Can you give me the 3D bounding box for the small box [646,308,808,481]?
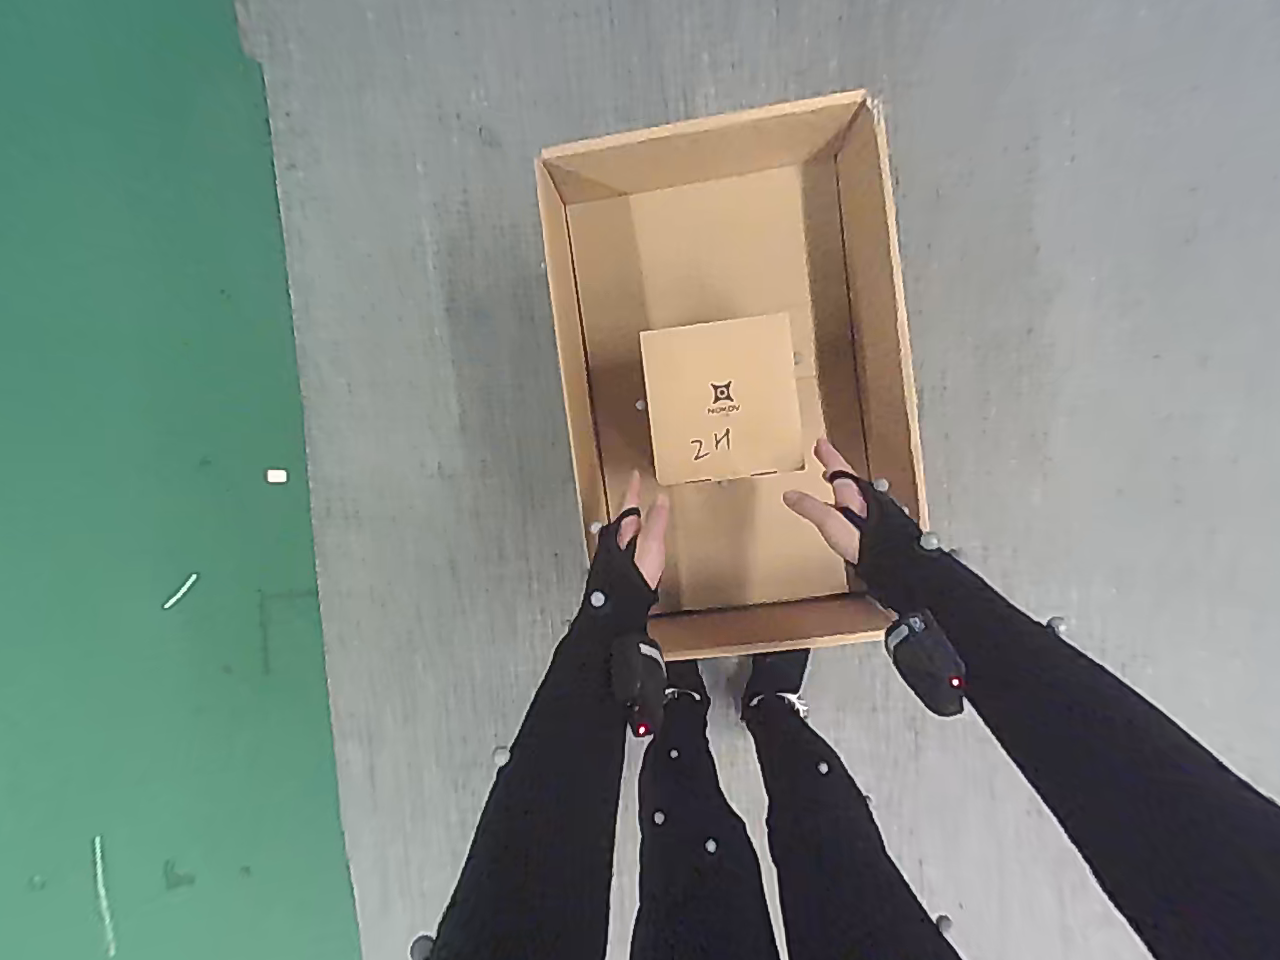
[{"bbox_3d":[0.099,-0.095,0.668,0.168,0.176,0.179,-6,93,5],"label":"small box"}]
